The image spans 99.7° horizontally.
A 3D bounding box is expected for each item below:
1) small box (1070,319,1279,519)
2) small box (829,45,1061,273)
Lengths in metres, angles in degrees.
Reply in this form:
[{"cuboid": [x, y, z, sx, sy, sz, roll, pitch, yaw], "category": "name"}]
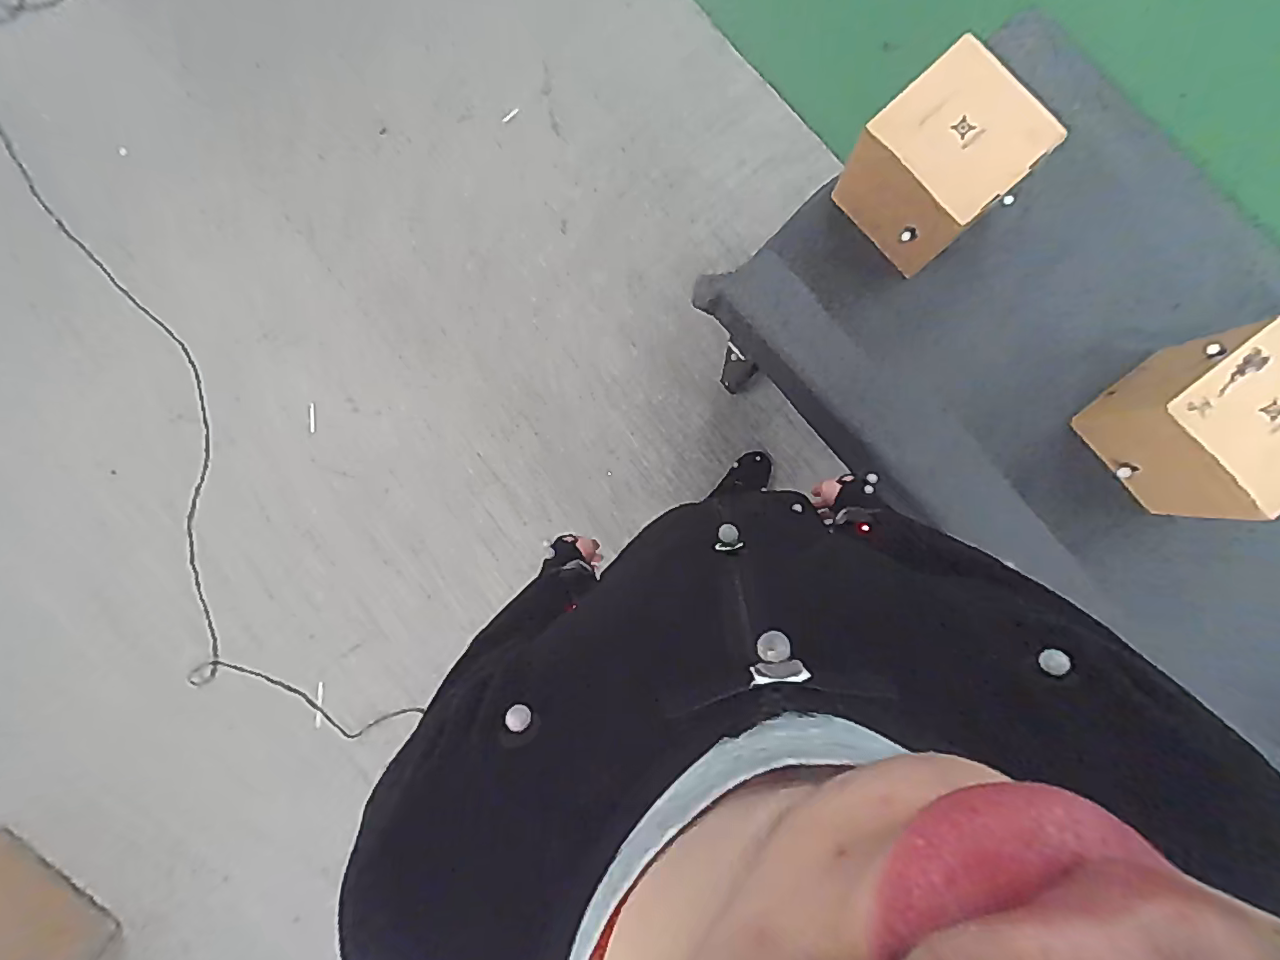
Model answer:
[{"cuboid": [0.734, -0.072, 0.704, 0.168, 0.176, 0.179, -41, 88, 2], "category": "small box"}, {"cuboid": [0.393, -0.410, 0.731, 0.168, 0.176, 0.179, -43, 86, 0], "category": "small box"}]
